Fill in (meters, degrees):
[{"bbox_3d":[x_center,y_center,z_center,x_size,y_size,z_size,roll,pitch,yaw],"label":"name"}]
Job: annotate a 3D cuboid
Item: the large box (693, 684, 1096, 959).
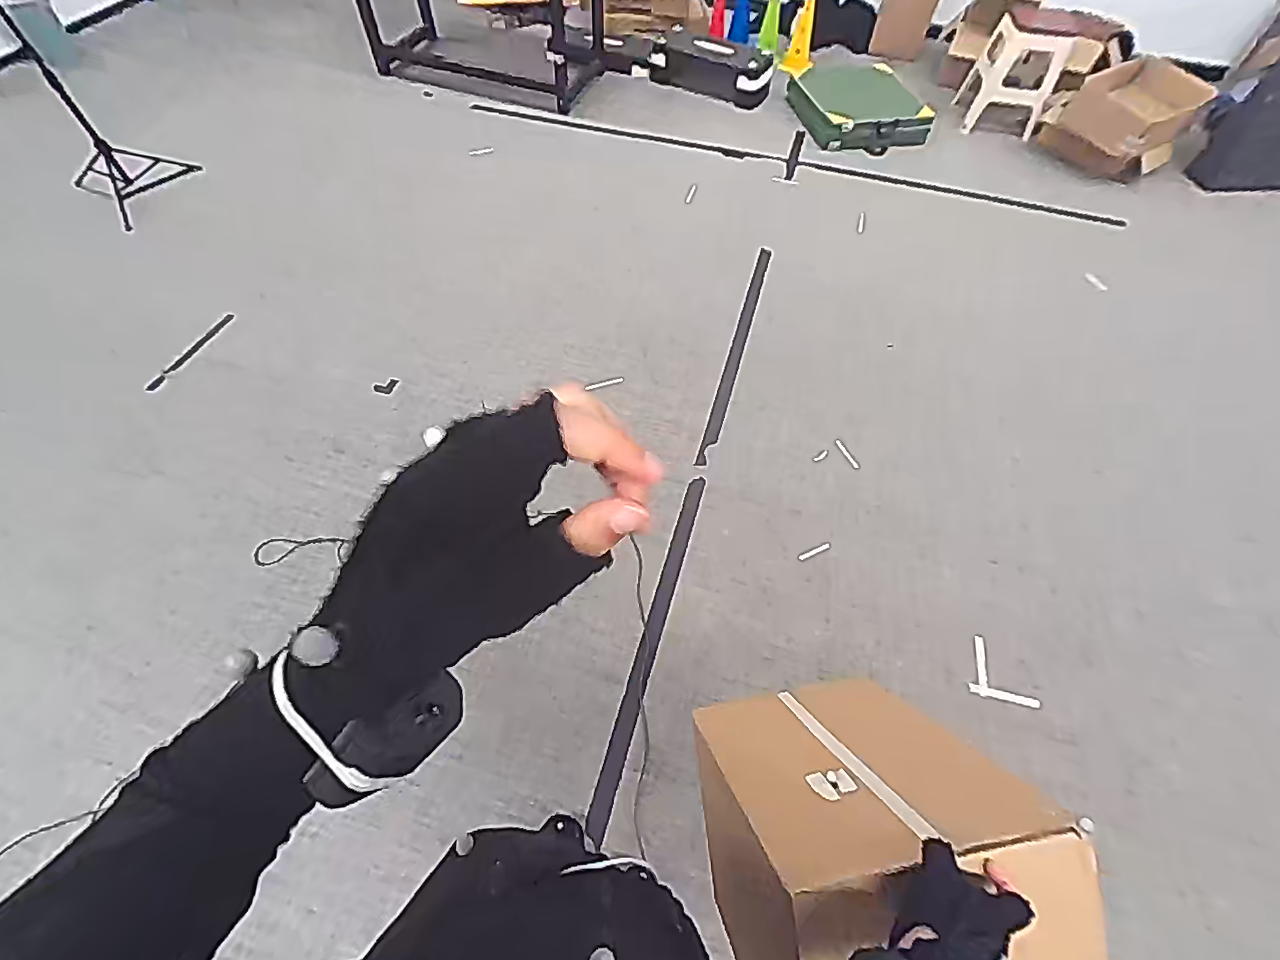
[{"bbox_3d":[0.281,0.515,0.712,0.320,0.408,0.320,-8,92,-8],"label":"large box"}]
